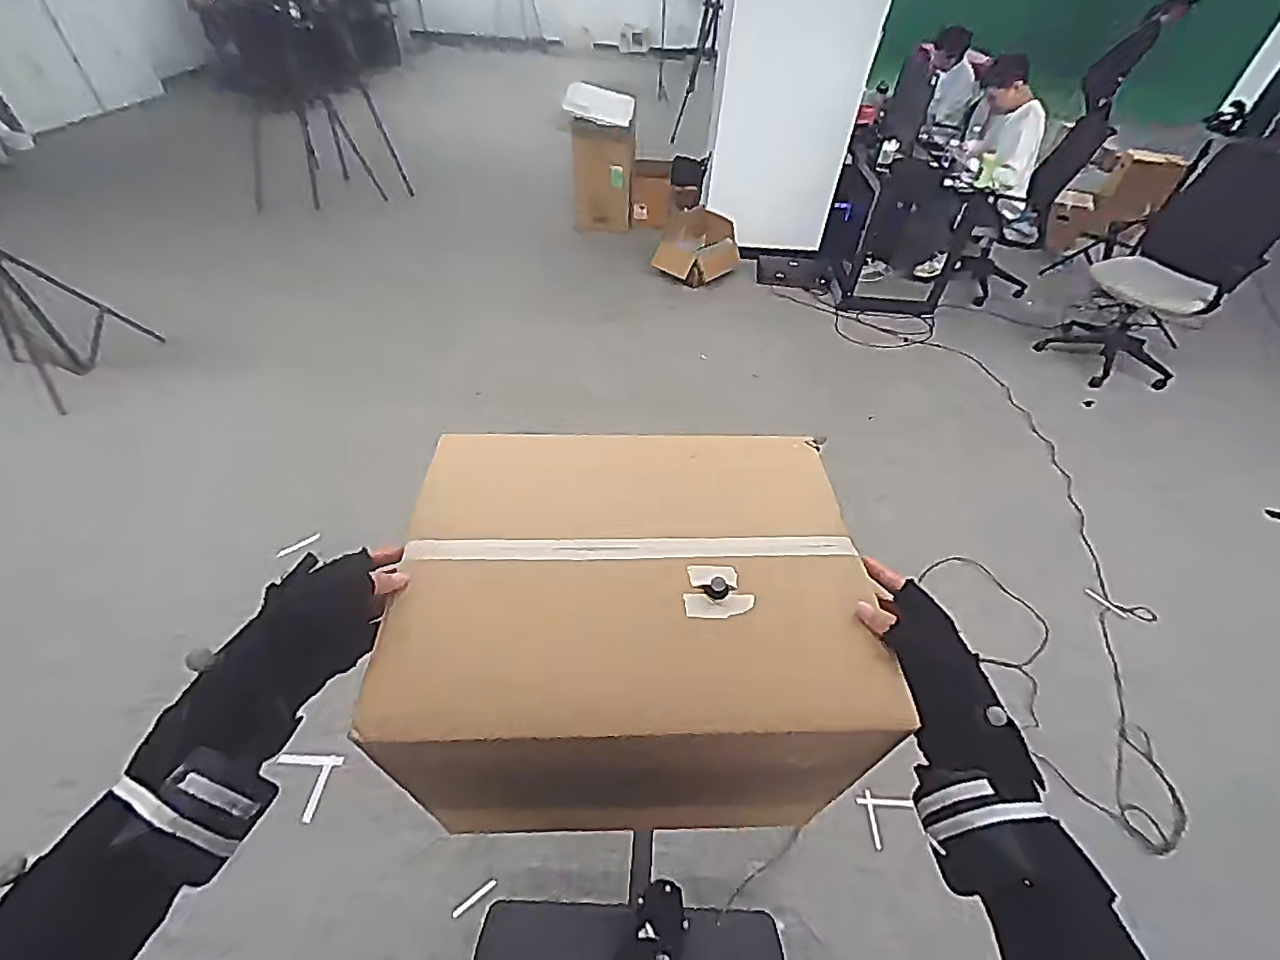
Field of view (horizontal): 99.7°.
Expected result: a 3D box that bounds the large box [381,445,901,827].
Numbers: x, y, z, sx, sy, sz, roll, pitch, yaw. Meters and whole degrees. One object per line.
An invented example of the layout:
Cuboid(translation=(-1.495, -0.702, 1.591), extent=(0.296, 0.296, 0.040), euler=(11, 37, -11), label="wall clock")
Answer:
Cuboid(translation=(-0.008, 0.175, 0.612), extent=(0.408, 0.320, 0.320), euler=(1, 47, -3), label="large box")
